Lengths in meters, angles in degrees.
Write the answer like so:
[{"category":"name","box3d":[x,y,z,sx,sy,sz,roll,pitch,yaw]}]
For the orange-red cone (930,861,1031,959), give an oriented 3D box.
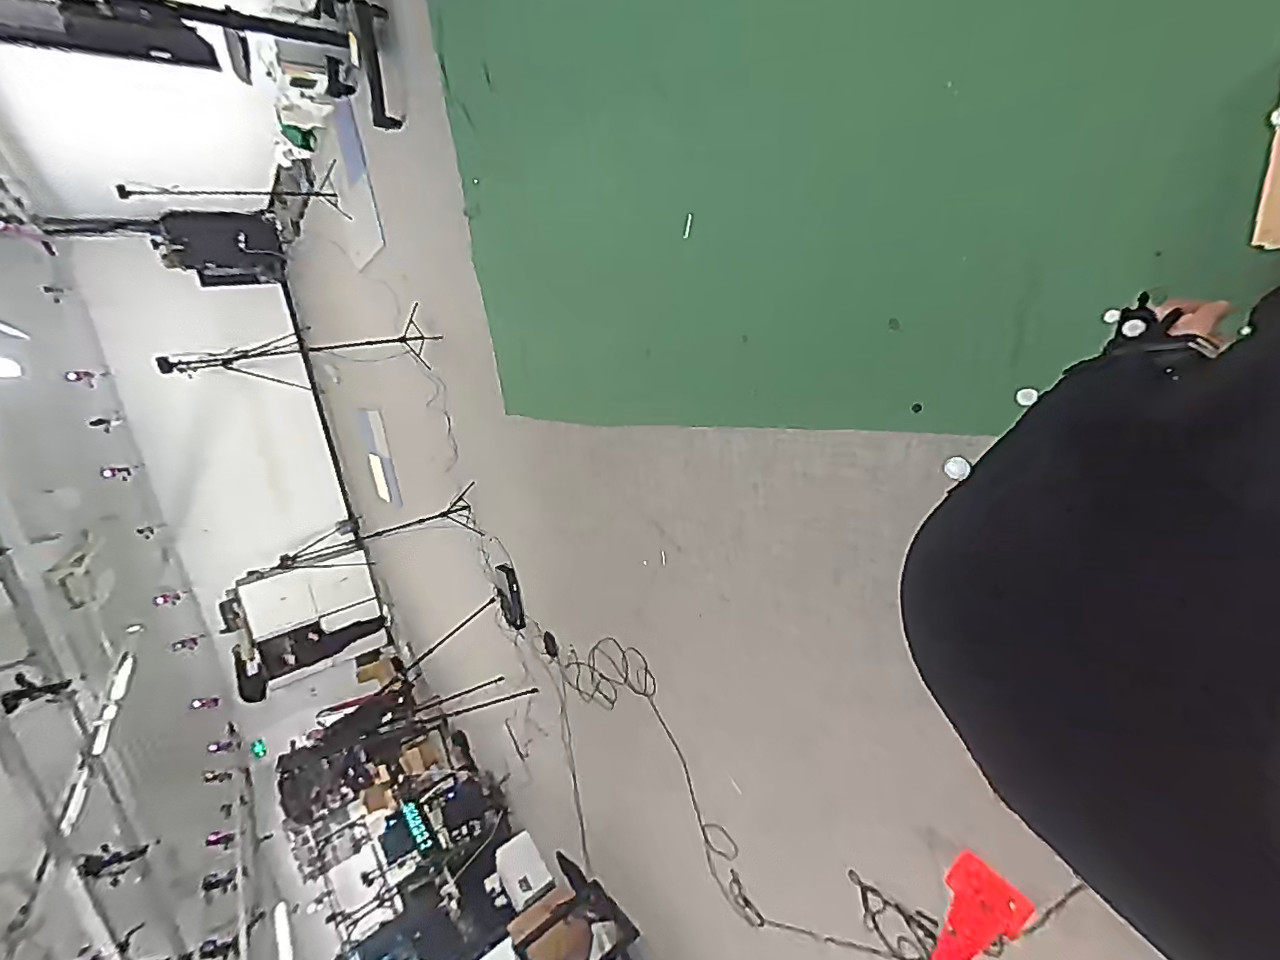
[{"category":"orange-red cone","box3d":[0.856,1.268,1.465,0.199,0.360,0.198,36,130,42]}]
